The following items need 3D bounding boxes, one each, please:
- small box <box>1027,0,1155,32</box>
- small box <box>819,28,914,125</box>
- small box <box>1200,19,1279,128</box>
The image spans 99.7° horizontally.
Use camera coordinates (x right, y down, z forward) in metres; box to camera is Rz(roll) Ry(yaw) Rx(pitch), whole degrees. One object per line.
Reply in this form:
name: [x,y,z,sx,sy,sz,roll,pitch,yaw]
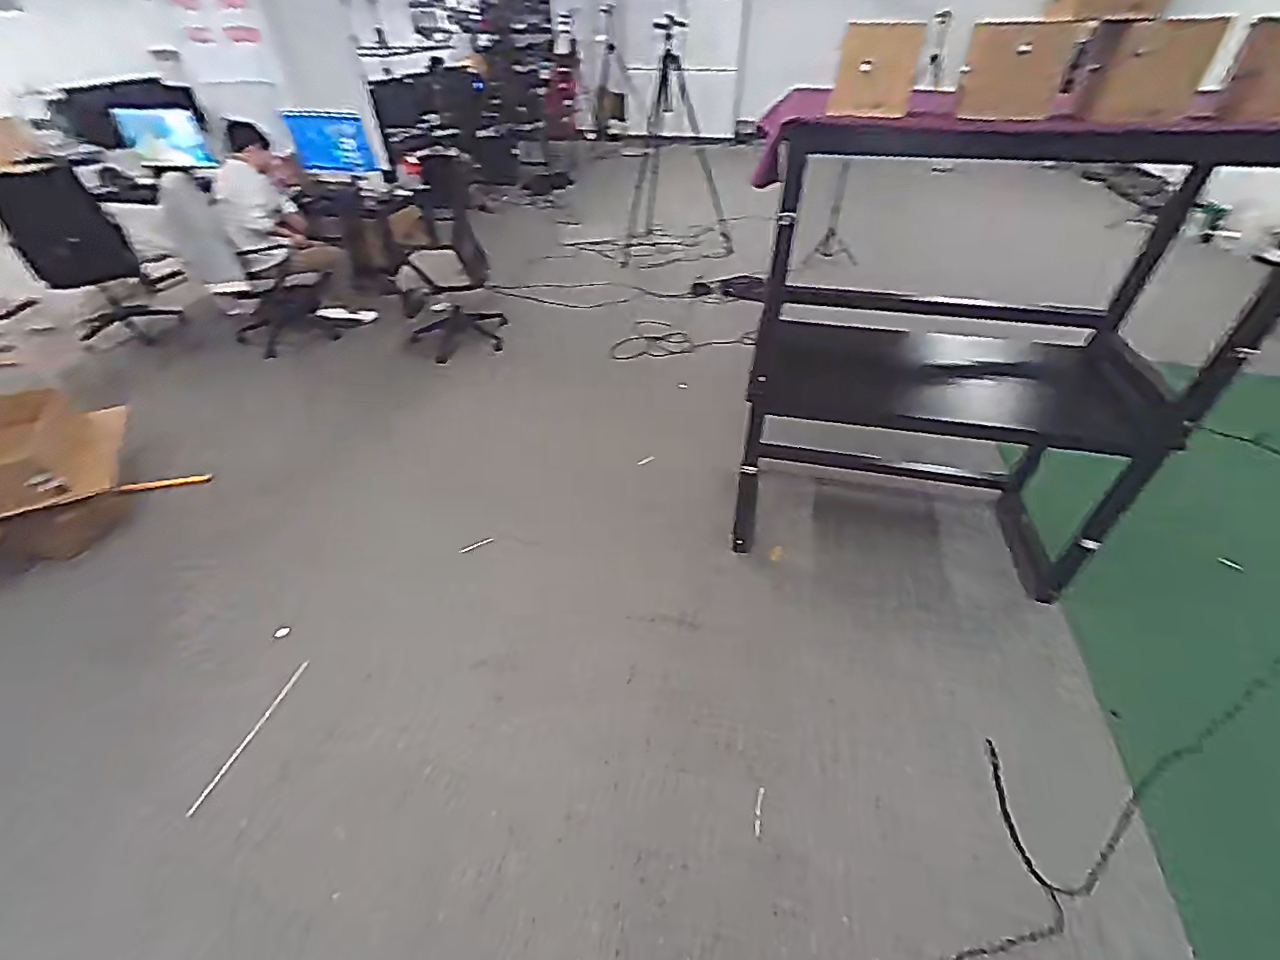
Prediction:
small box: [0.903,-0.992,1.055,0.168,0.176,0.179,6,40,9]
small box: [0.513,-0.921,1.238,0.168,0.176,0.179,10,40,13]
small box: [1.291,-0.814,1.082,0.179,0.176,0.168,10,43,15]
